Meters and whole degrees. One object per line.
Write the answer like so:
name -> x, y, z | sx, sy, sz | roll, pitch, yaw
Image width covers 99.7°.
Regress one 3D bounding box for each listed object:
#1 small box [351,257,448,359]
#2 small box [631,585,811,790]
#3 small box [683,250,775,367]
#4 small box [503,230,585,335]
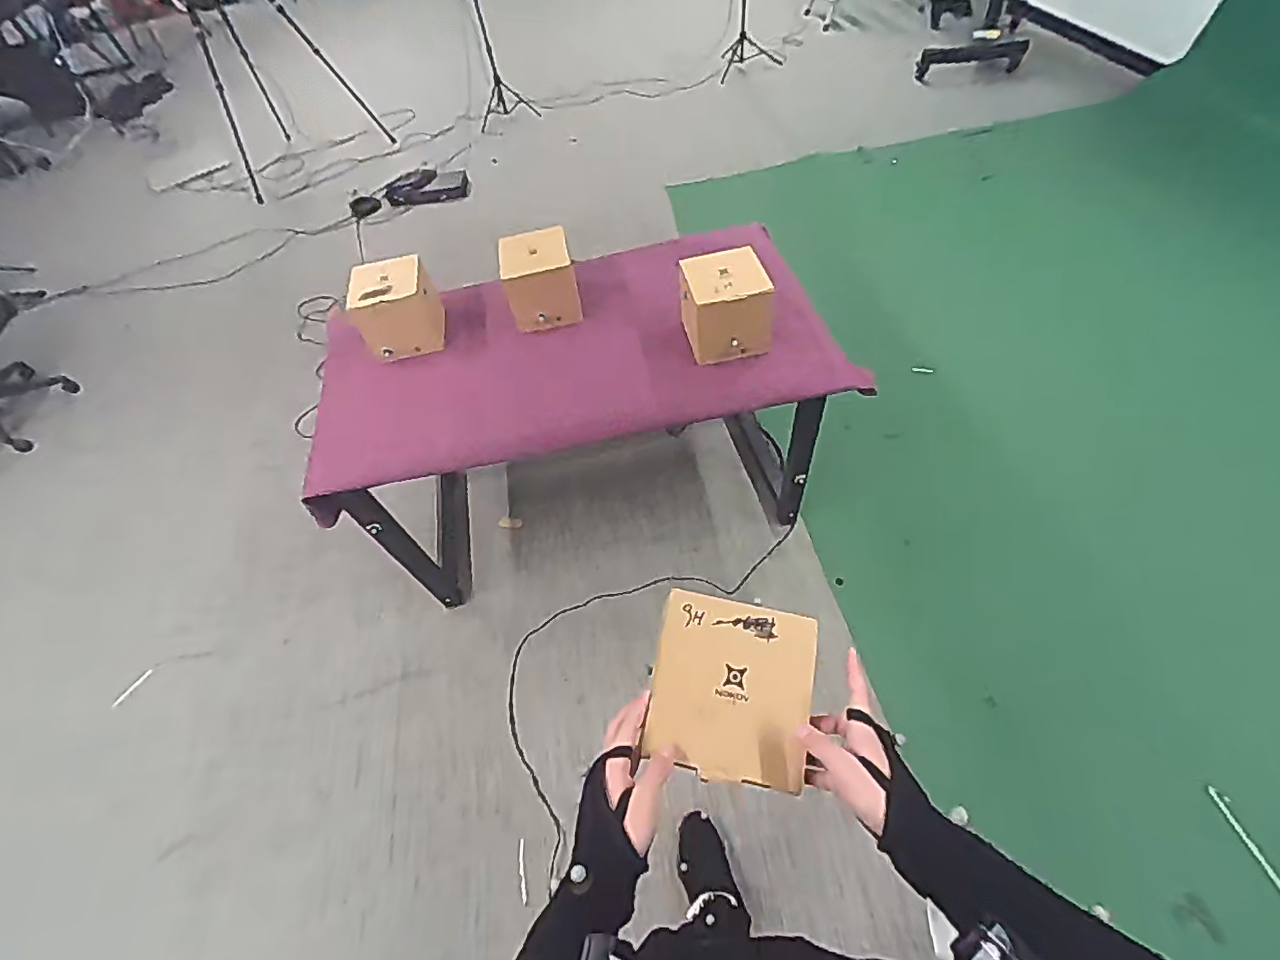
small box -> -0.591, -0.421, 1.352 | 0.168, 0.176, 0.179 | -13, 54, -2
small box -> 0.089, 0.238, 0.642 | 0.168, 0.176, 0.179 | 11, 70, 4
small box -> 0.194, -0.385, 1.221 | 0.168, 0.176, 0.179 | -12, 53, 1
small box -> -0.241, -0.494, 1.361 | 0.168, 0.176, 0.179 | -12, 55, -1
